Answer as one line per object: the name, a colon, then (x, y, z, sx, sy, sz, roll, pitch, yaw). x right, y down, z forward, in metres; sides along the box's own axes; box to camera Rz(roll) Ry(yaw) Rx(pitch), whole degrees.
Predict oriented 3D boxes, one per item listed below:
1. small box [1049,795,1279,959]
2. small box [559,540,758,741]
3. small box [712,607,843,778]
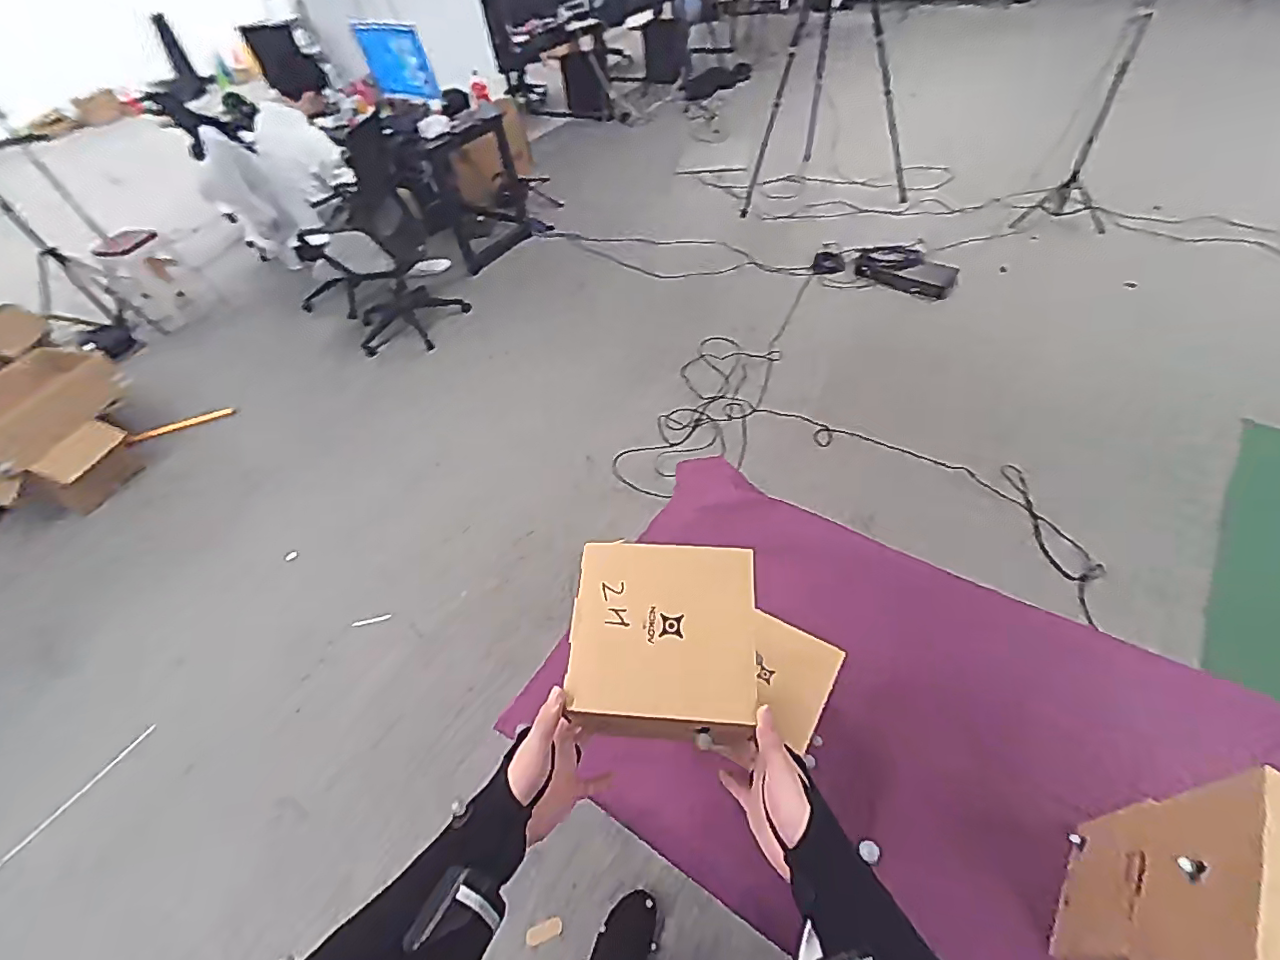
small box: (0.587, 0.486, 0.582, 0.179, 0.176, 0.168, 27, 59, 27)
small box: (0.026, 0.177, 0.579, 0.179, 0.176, 0.168, 2, 58, 6)
small box: (0.173, 0.310, 0.797, 0.179, 0.176, 0.168, 22, 57, 25)
